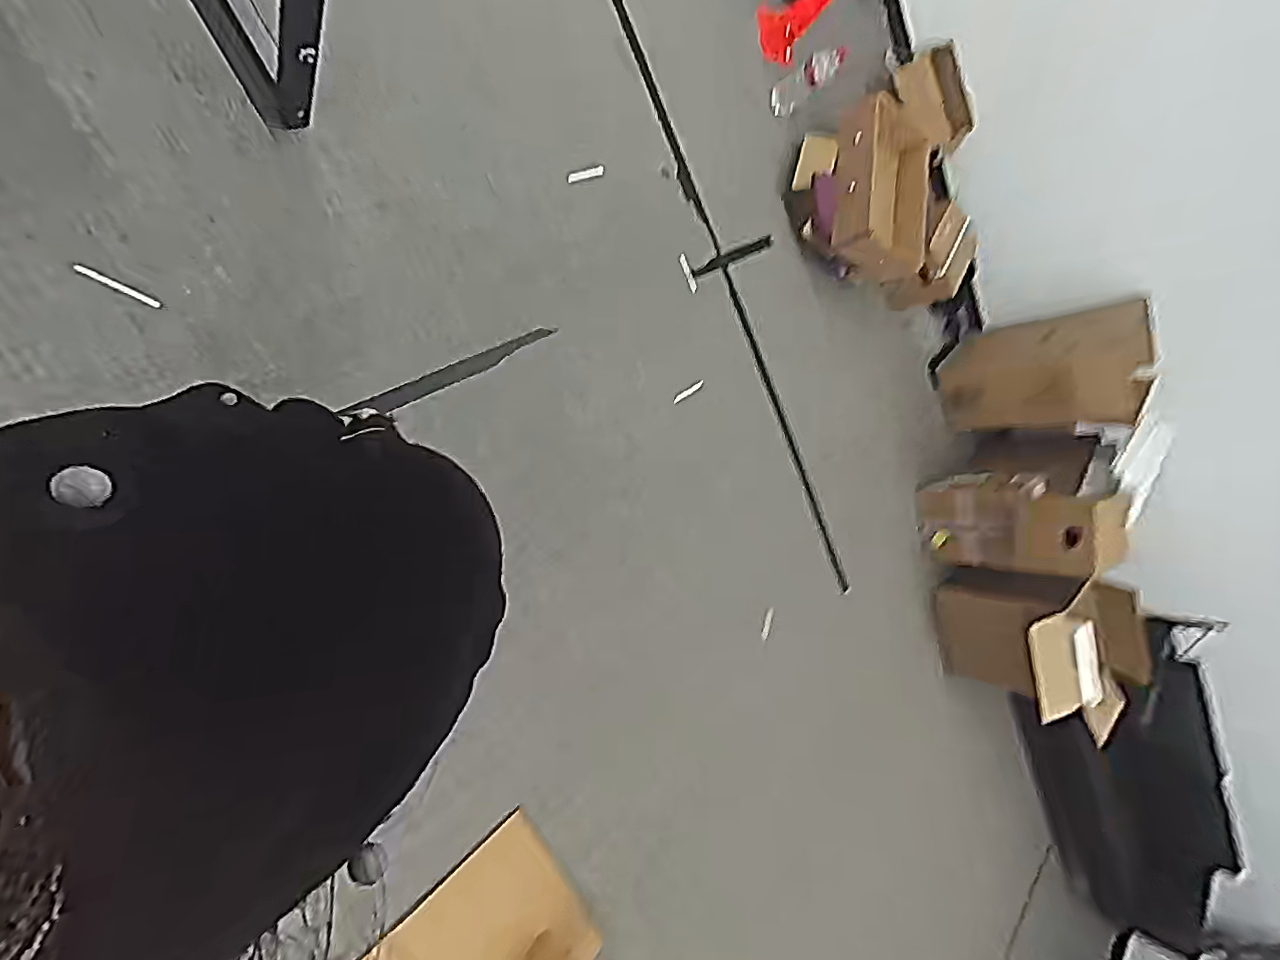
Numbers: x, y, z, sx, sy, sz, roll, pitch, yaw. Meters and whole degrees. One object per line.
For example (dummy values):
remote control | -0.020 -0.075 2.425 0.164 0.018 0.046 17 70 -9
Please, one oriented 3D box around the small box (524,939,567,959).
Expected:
small box | -0.260 1.463 1.533 0.168 0.176 0.179 -42 112 -30
